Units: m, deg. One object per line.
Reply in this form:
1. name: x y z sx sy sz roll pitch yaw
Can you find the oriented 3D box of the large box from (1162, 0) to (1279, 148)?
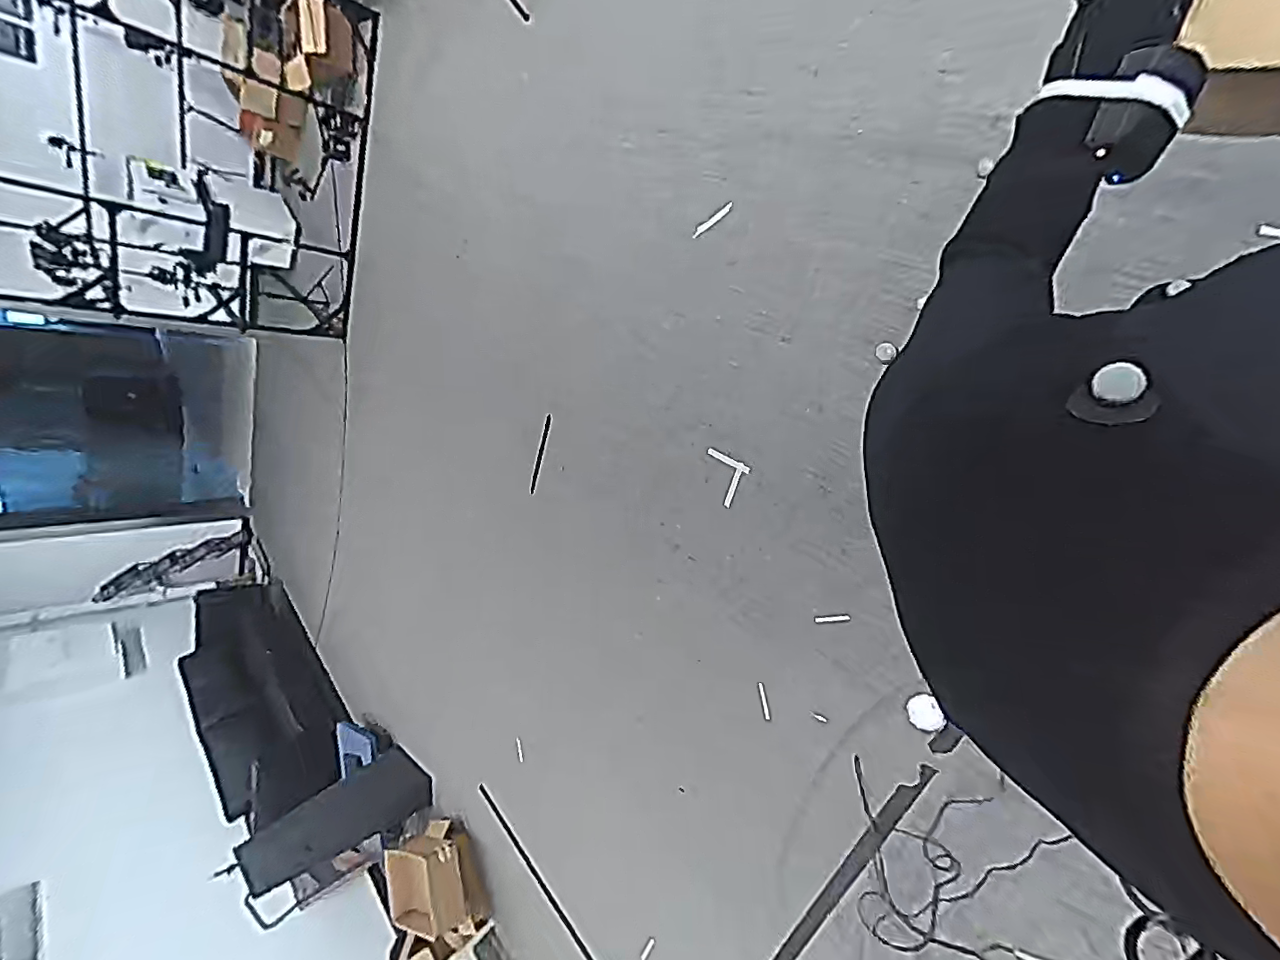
1. large box: 0.631 -0.391 0.311 0.408 0.320 0.320 26 125 34
